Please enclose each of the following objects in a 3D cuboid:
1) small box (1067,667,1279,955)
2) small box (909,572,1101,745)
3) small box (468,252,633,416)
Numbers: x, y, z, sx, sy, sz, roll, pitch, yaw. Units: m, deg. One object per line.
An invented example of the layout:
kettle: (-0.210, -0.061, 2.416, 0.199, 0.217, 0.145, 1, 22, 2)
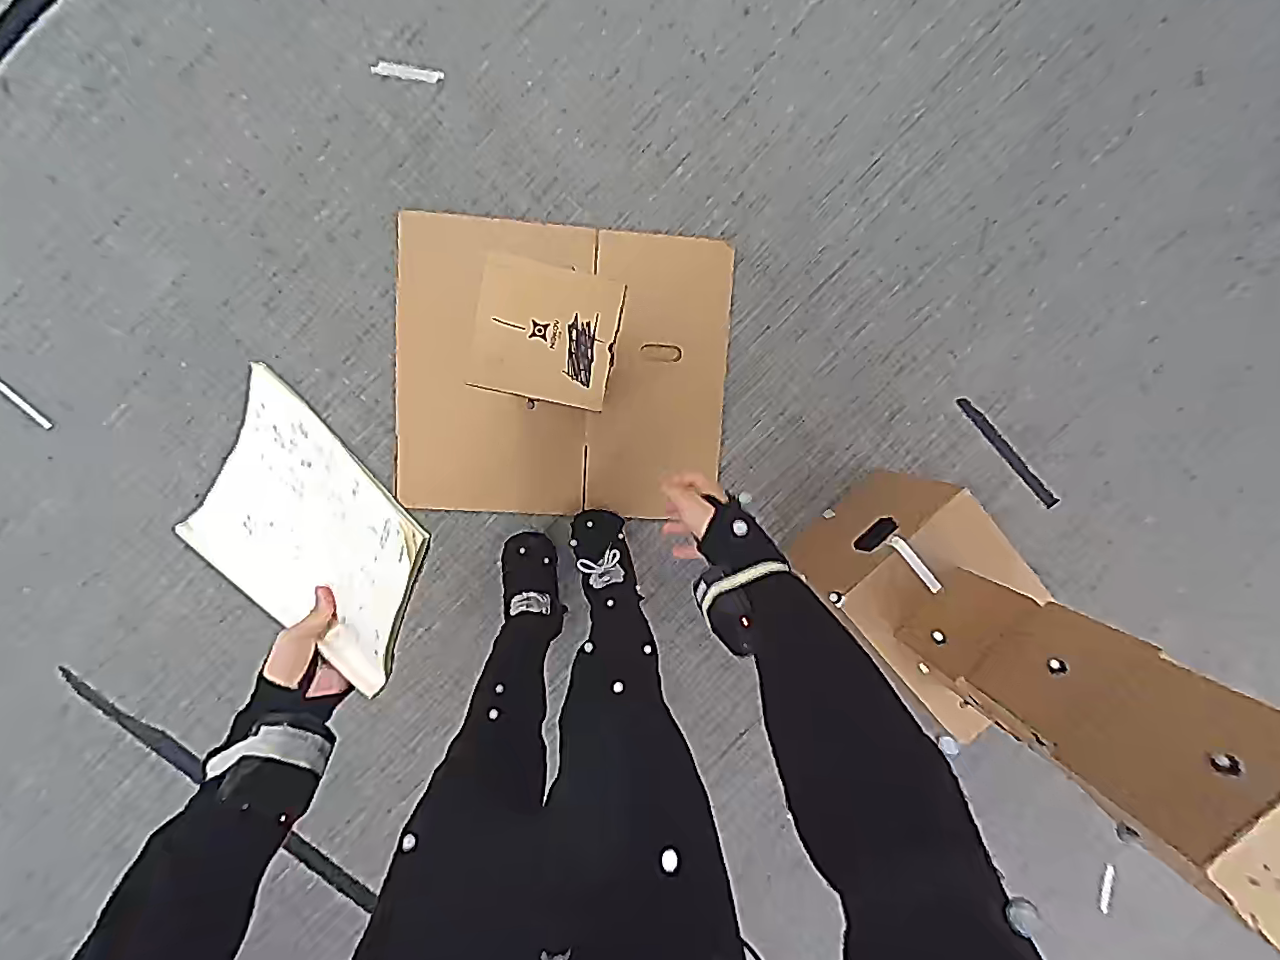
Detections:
small box: (0.621, 0.338, 0.574, 0.168, 0.176, 0.179, 44, 92, -9)
small box: (0.584, 0.285, 0.897, 0.168, 0.176, 0.179, 42, 92, -10)
small box: (-0.119, -0.188, 0.739, 0.179, 0.176, 0.168, 11, 96, -8)
